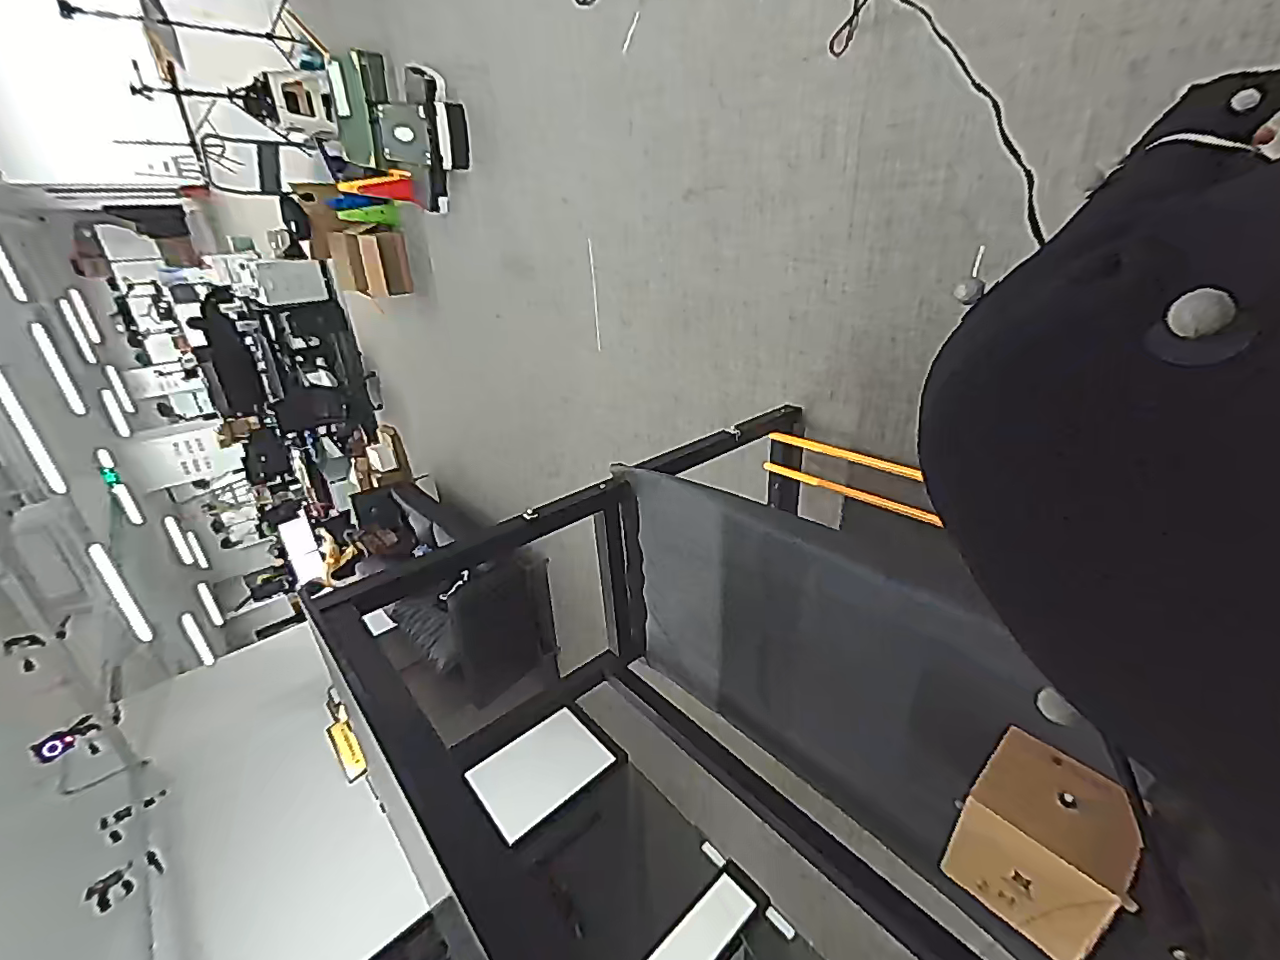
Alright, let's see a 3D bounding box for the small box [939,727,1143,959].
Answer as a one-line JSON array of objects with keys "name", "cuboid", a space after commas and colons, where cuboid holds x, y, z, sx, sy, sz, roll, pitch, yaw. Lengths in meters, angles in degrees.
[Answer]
[{"name": "small box", "cuboid": [0.550, 0.486, 0.746, 0.168, 0.176, 0.179, 27, 129, 43]}]
